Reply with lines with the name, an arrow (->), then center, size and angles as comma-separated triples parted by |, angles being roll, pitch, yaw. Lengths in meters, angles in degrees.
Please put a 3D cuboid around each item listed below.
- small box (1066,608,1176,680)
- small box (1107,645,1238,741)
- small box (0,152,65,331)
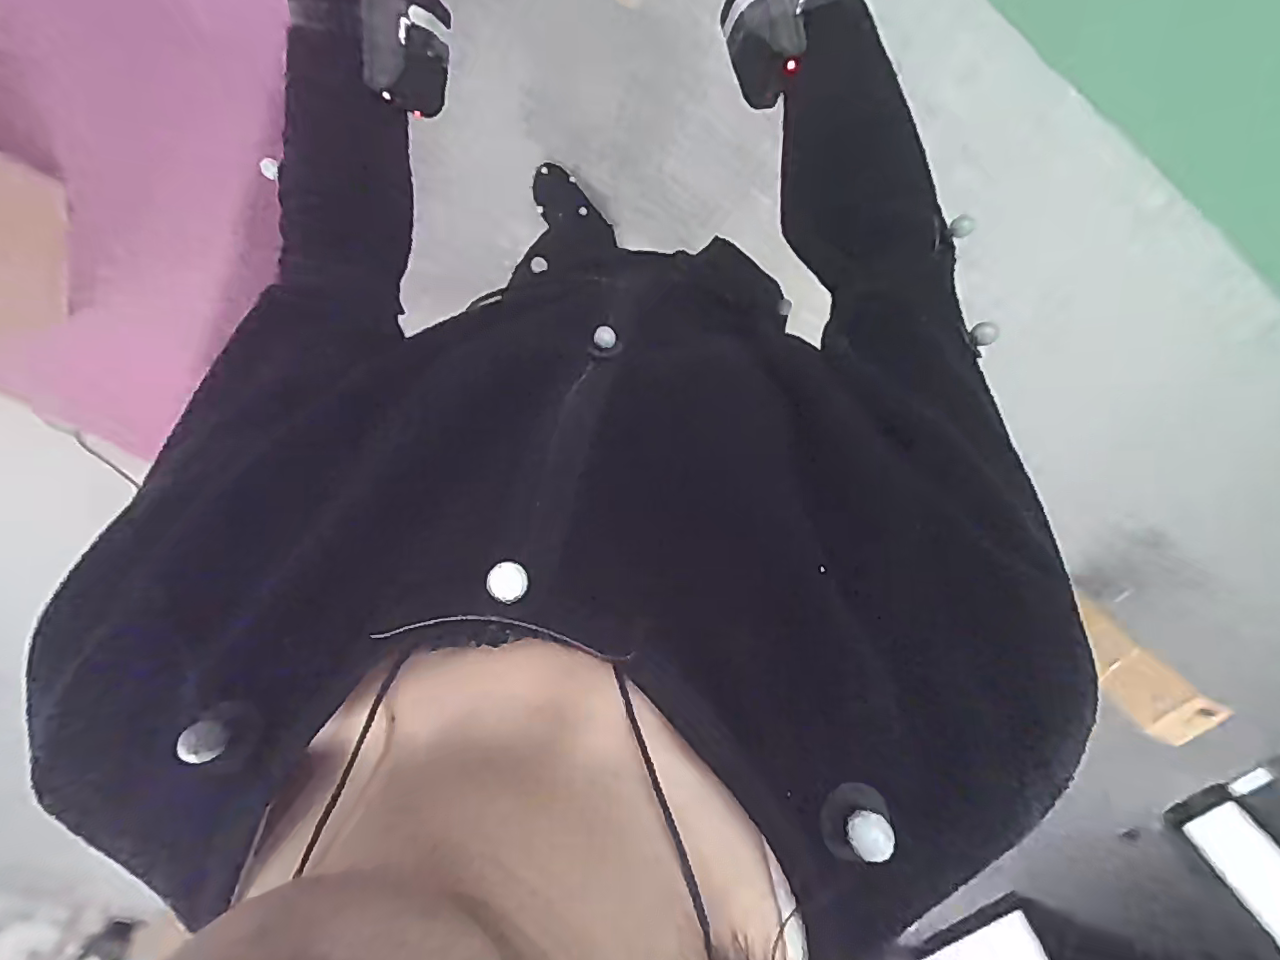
small box -> 1.515, 0.533, 1.710 | 0.179, 0.176, 0.168 | 25, 117, -15
small box -> 1.529, 0.612, 1.566 | 0.168, 0.176, 0.179 | 25, 117, -16
small box -> -0.751, -0.258, 0.551 | 0.168, 0.176, 0.179 | 23, 117, -15
